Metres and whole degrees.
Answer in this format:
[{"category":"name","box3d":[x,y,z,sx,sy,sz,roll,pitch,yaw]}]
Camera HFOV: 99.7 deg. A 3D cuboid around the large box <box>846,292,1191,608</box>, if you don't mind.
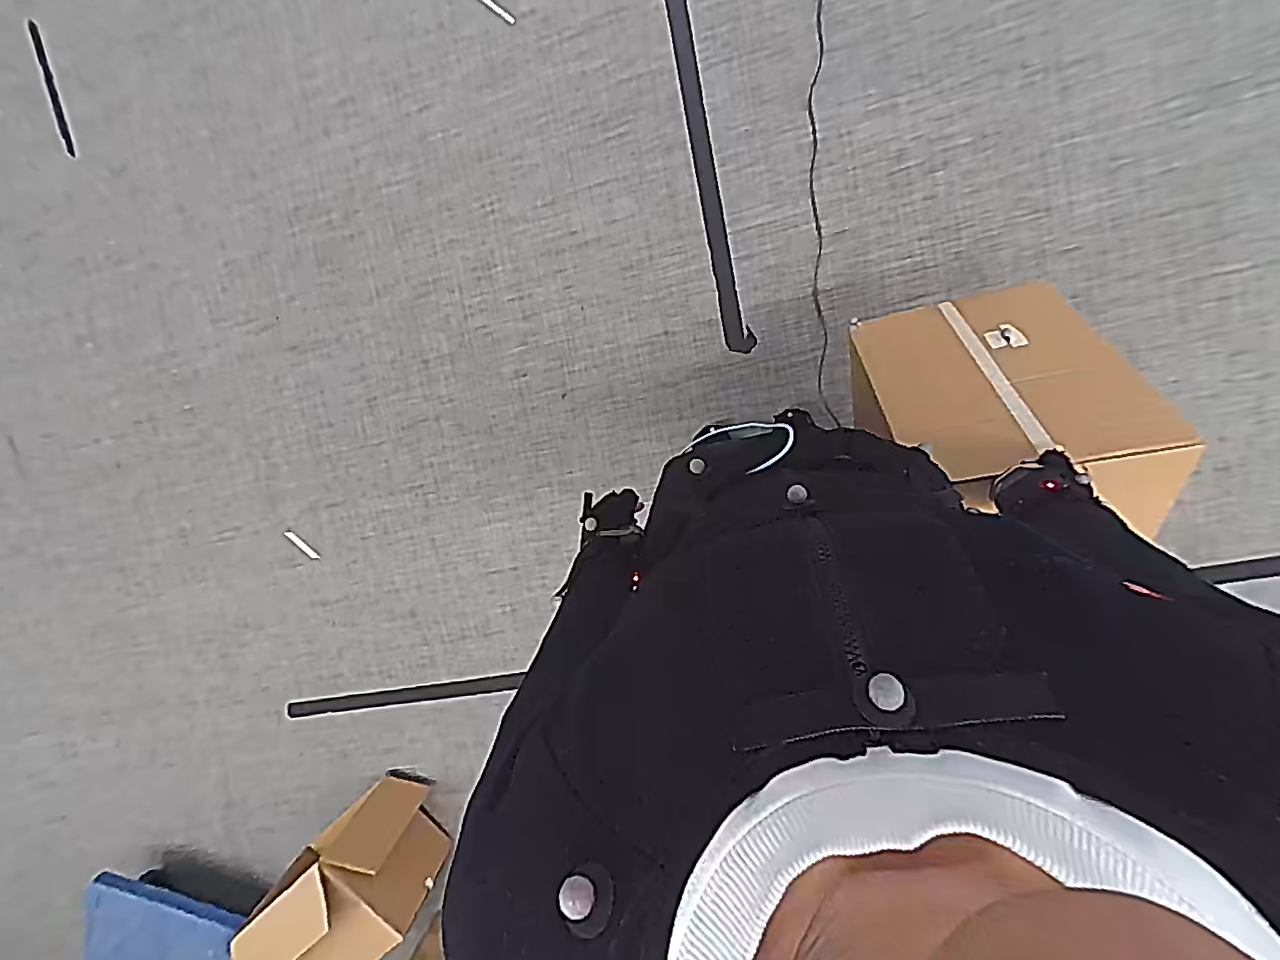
[{"category":"large box","box3d":[0.560,-0.050,0.910,0.320,0.408,0.320,-10,133,13]}]
